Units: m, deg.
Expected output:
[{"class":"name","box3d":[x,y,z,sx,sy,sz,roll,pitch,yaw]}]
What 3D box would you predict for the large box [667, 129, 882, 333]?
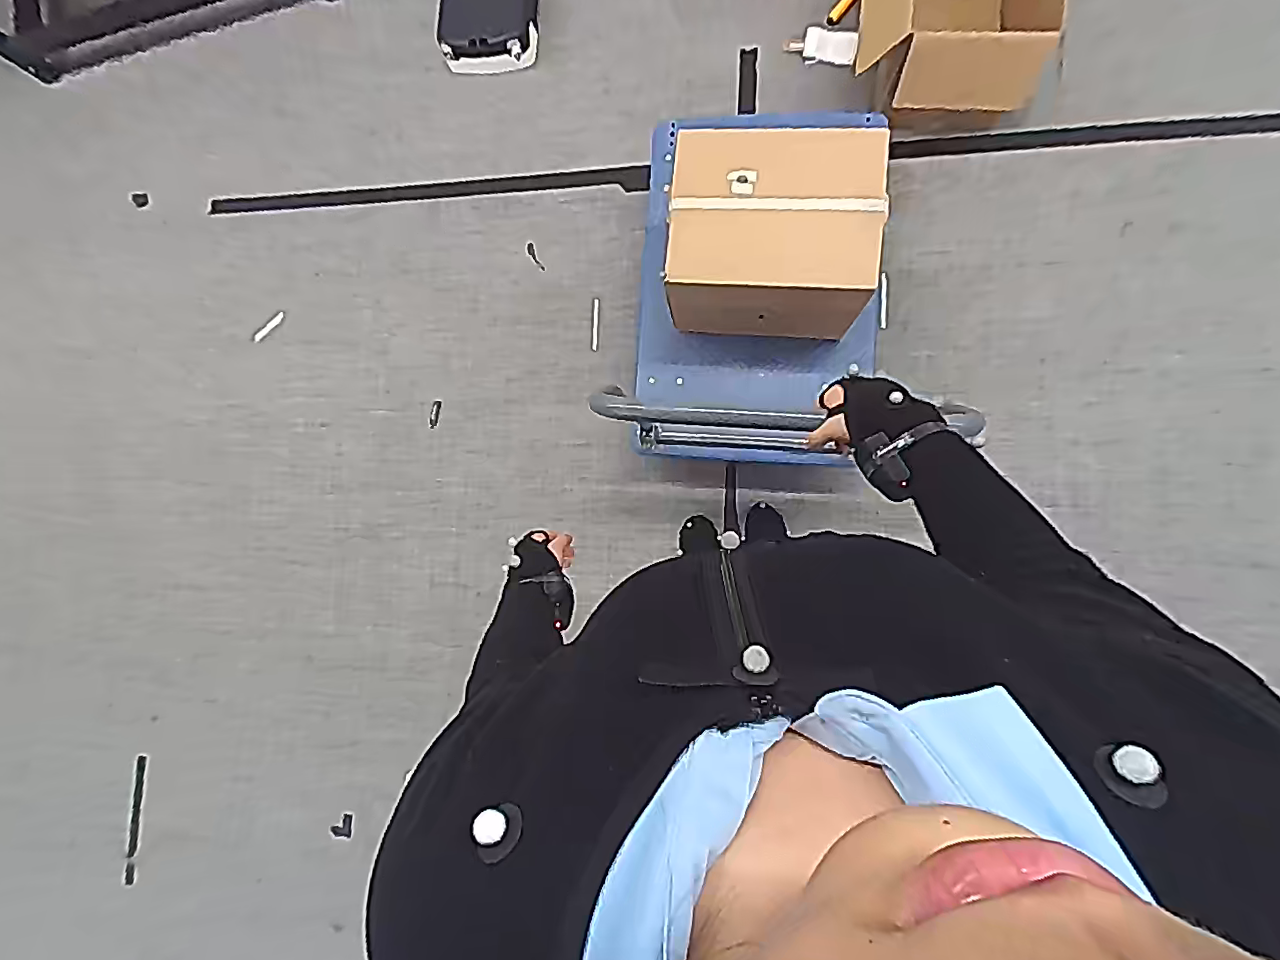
[{"class":"large box","box3d":[0.286,-0.524,1.206,0.408,0.320,0.320,4,87,10]}]
